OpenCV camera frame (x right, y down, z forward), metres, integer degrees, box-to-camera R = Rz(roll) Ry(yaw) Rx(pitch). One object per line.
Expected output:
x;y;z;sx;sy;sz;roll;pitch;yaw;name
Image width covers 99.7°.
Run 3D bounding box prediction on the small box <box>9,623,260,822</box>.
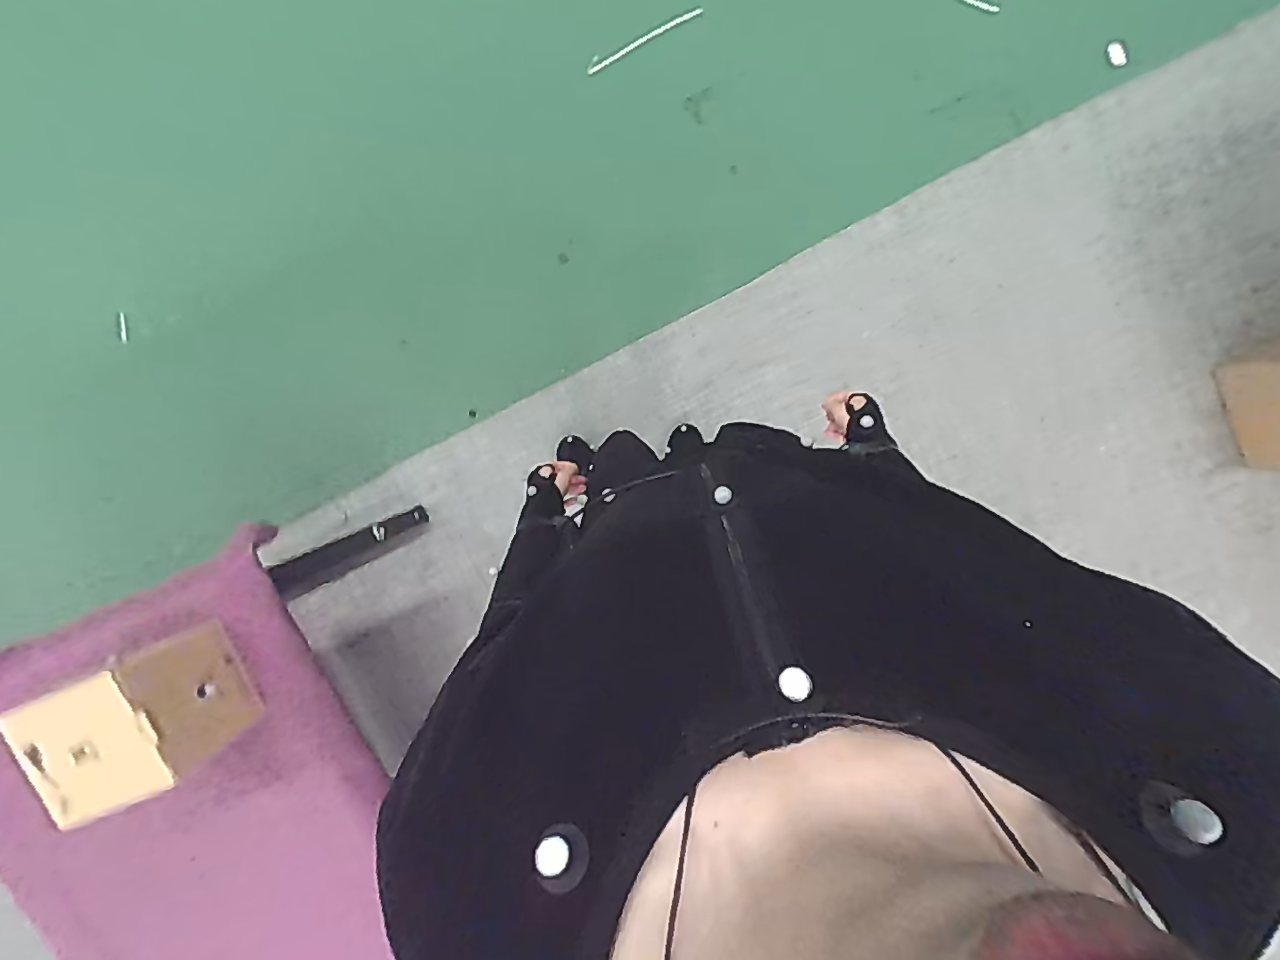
-0.687;0.328;0.766;0.179;0.176;0.168;-22;97;4;small box
